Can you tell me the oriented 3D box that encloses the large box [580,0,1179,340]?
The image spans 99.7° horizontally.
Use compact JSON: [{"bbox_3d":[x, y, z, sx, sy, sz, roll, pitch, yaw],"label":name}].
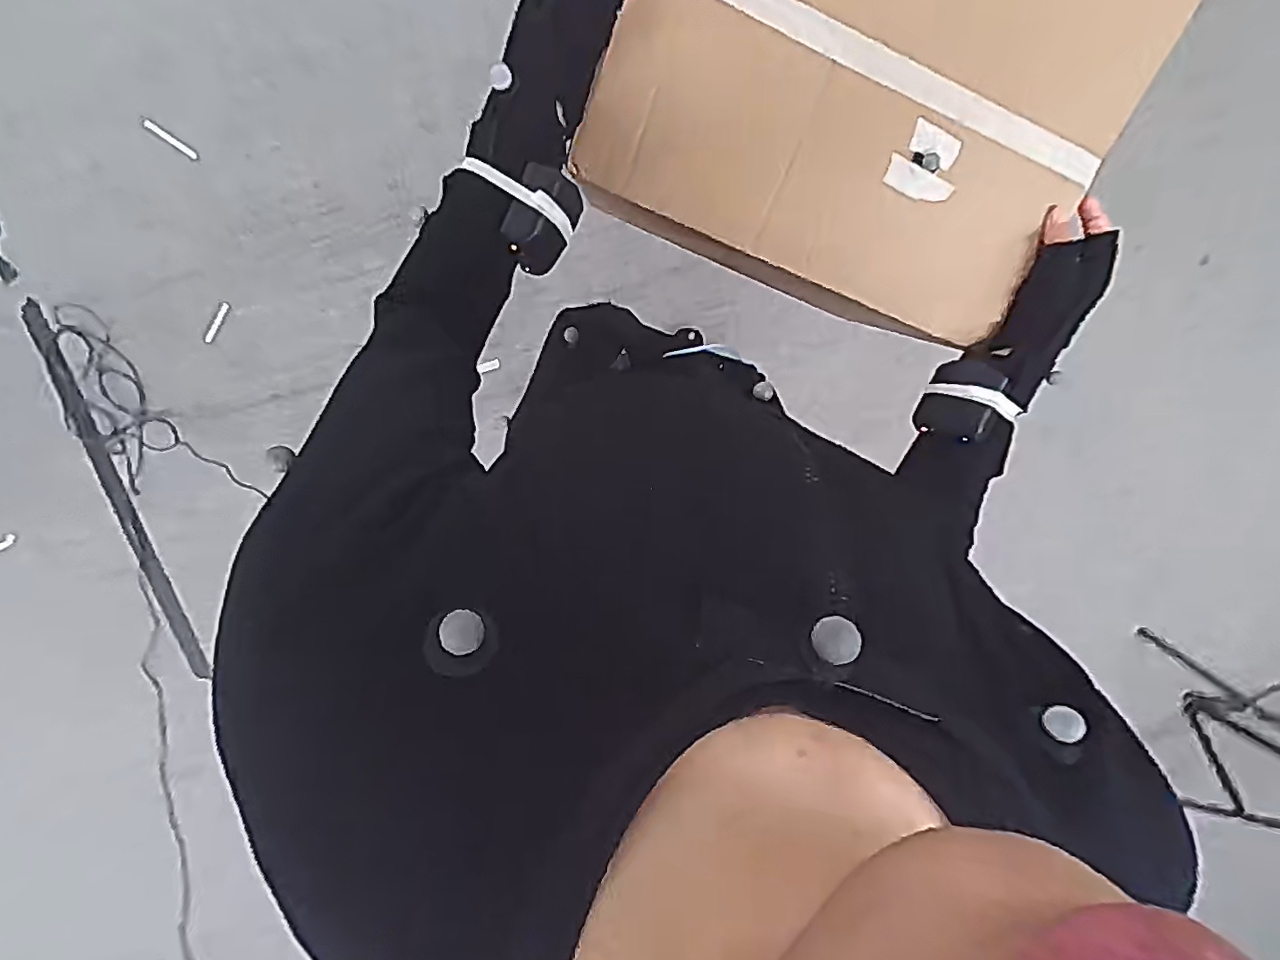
[{"bbox_3d":[0.178,-0.381,0.562,0.408,0.320,0.320,19,112,-10],"label":"large box"}]
